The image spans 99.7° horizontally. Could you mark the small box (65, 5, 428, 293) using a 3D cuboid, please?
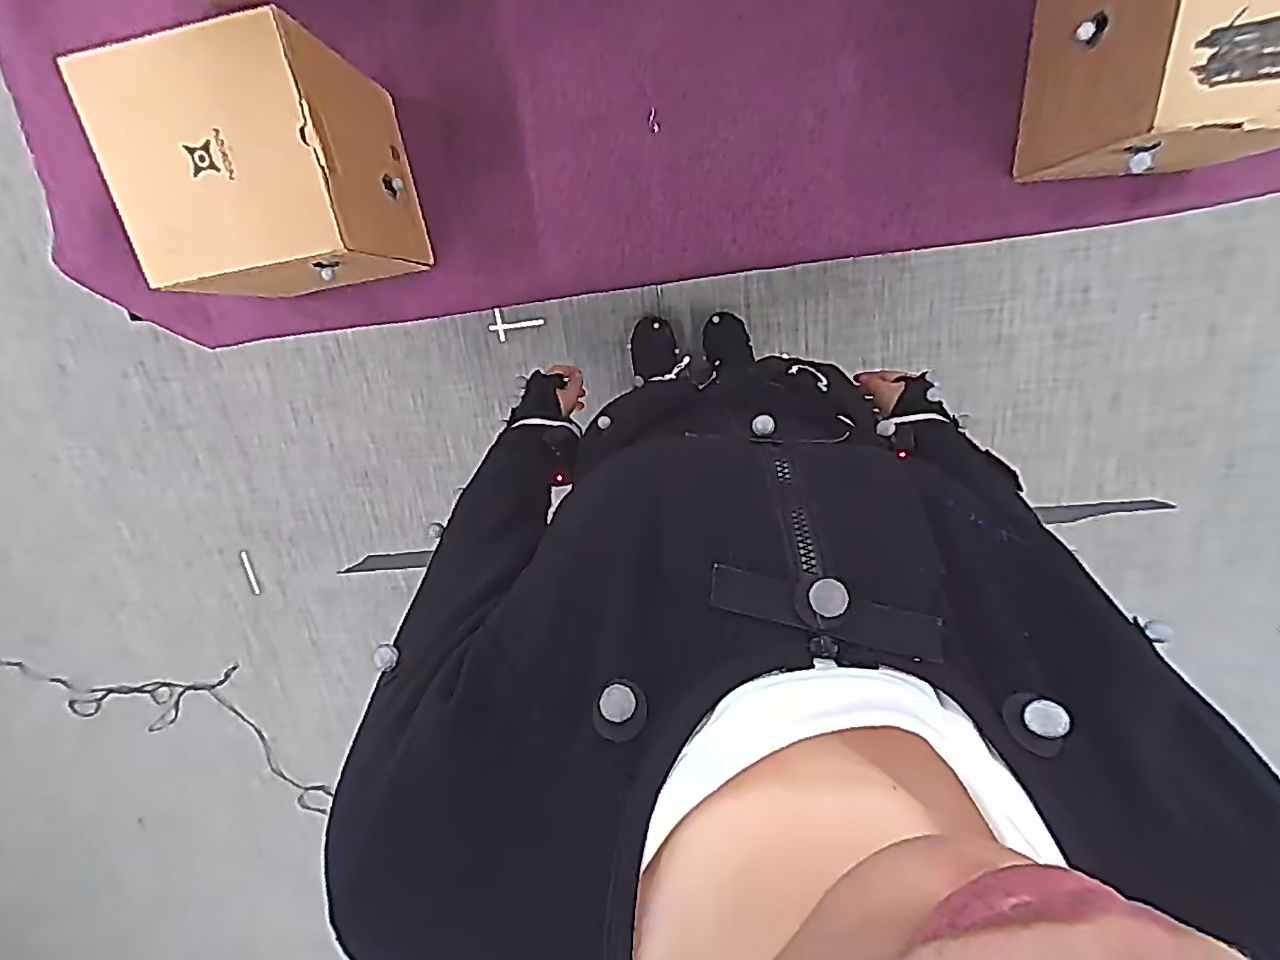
[{"bbox_3d":[-0.327,-0.272,0.491,0.179,0.176,0.168,-10,106,5],"label":"small box"}]
